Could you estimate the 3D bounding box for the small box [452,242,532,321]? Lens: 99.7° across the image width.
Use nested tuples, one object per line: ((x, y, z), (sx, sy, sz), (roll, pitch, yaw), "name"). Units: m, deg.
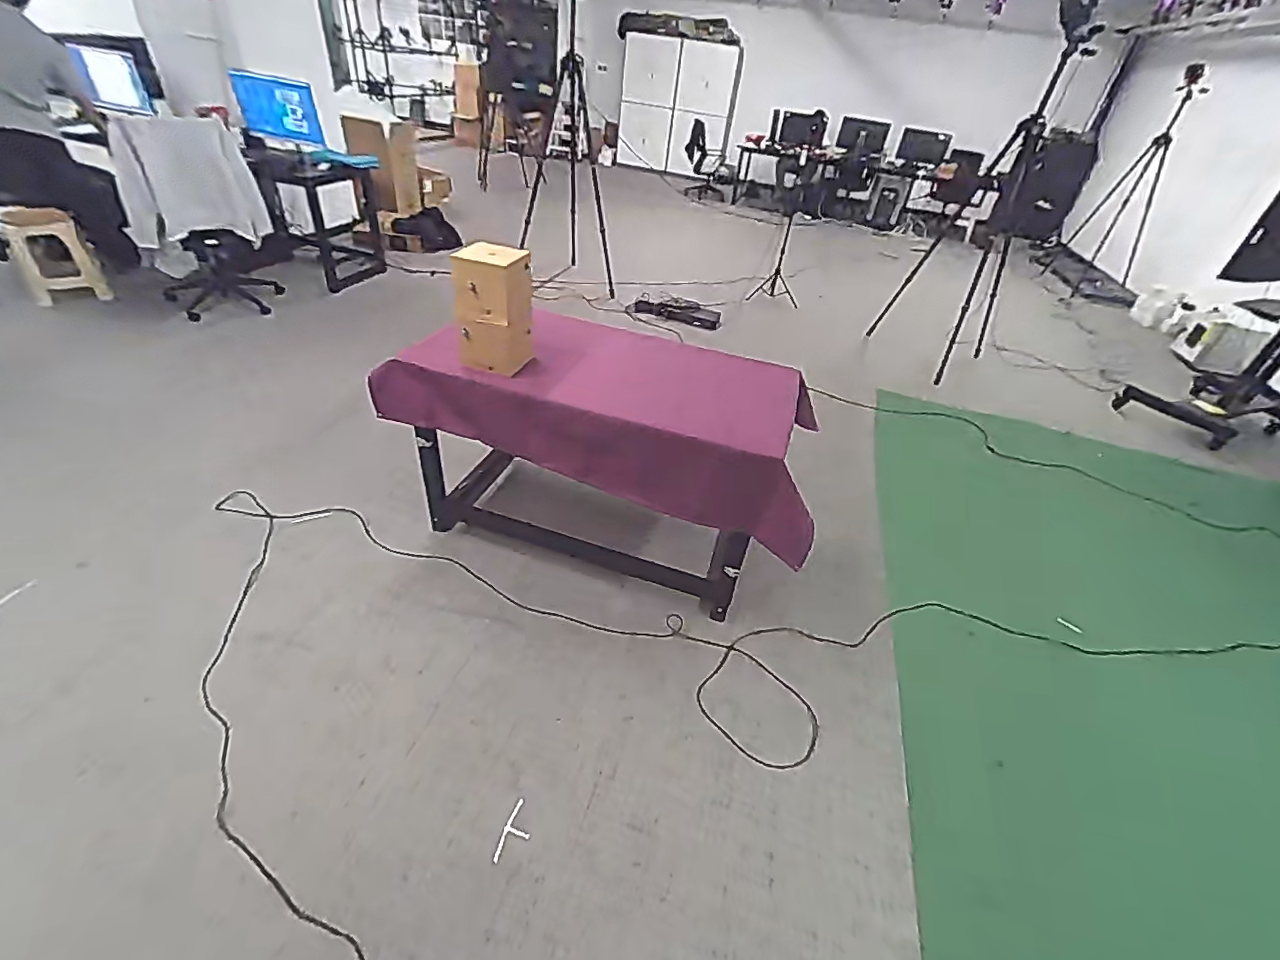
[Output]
((-0.421, -0.578, 1.575), (0.168, 0.176, 0.179), (13, 37, 7), "small box")
